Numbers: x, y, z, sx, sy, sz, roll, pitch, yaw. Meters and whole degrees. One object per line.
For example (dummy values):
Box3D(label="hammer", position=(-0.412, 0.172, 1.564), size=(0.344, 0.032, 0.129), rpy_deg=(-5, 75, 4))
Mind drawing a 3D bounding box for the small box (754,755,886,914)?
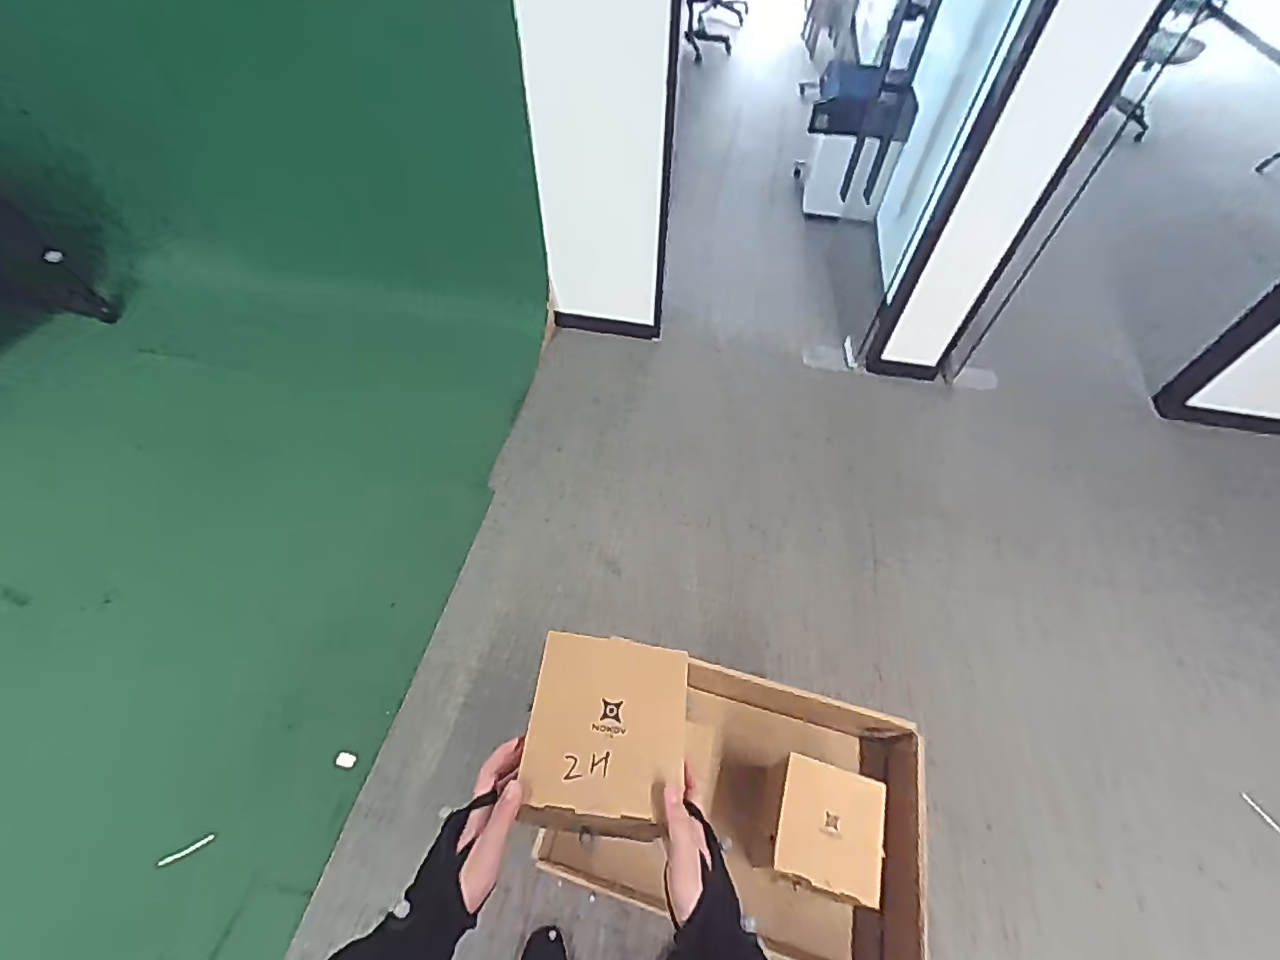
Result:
Box3D(label="small box", position=(0.304, 0.606, 0.931), size=(0.168, 0.176, 0.179), rpy_deg=(16, 56, 9))

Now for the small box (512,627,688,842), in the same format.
Box3D(label="small box", position=(-0.047, 0.296, 0.622), size=(0.168, 0.176, 0.179), rpy_deg=(10, 51, -4))
